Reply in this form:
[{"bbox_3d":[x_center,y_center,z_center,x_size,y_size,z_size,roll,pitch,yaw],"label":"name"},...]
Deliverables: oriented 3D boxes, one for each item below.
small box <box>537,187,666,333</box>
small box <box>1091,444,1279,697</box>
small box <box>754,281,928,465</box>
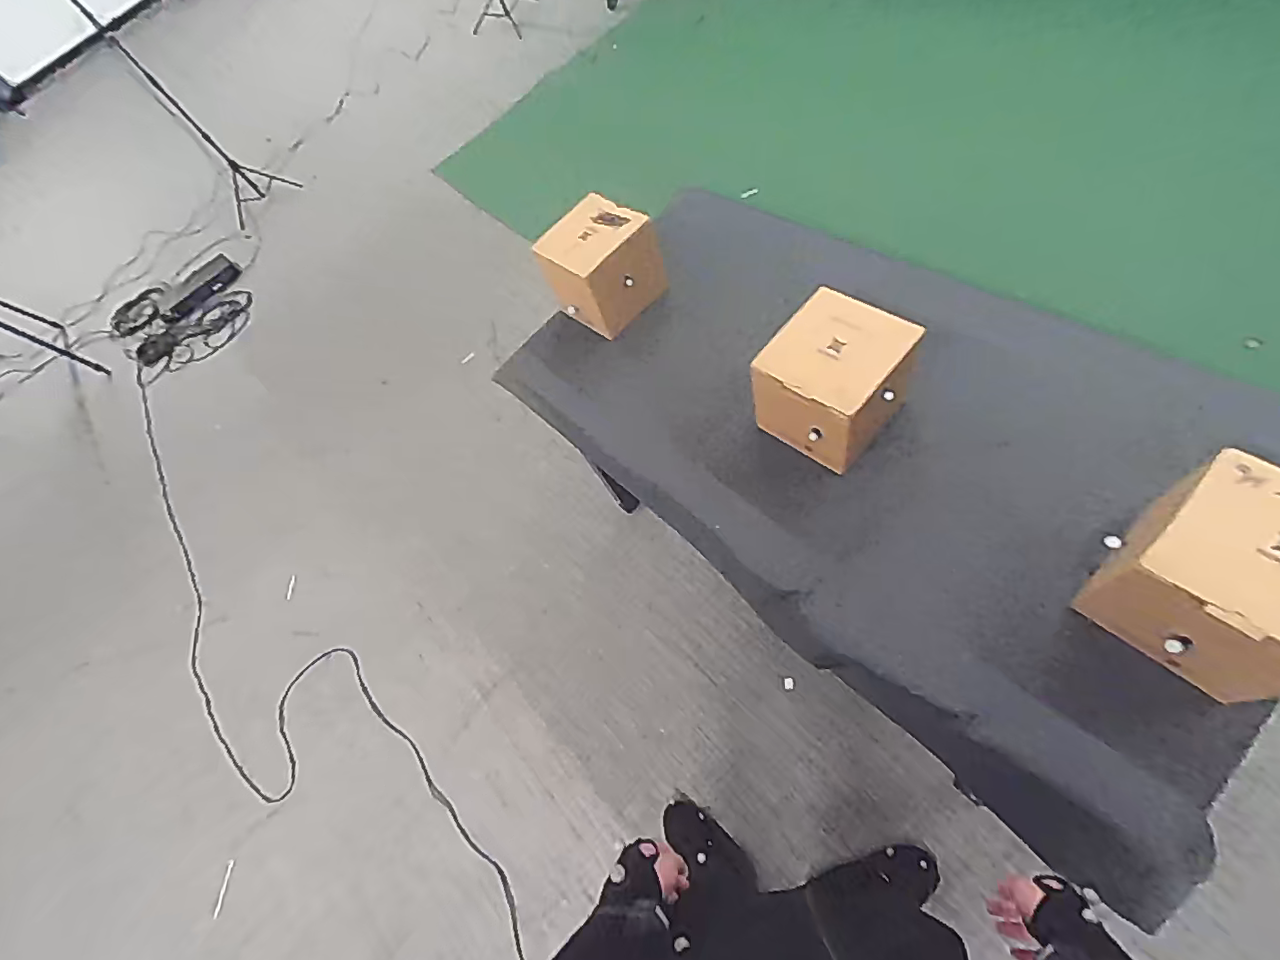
[{"bbox_3d":[-0.064,-0.429,1.066,0.179,0.176,0.168,-46,60,-10],"label":"small box"},{"bbox_3d":[0.629,0.103,0.570,0.179,0.176,0.168,-45,59,-8],"label":"small box"},{"bbox_3d":[0.295,-0.154,0.814,0.168,0.176,0.179,37,77,28],"label":"small box"}]
